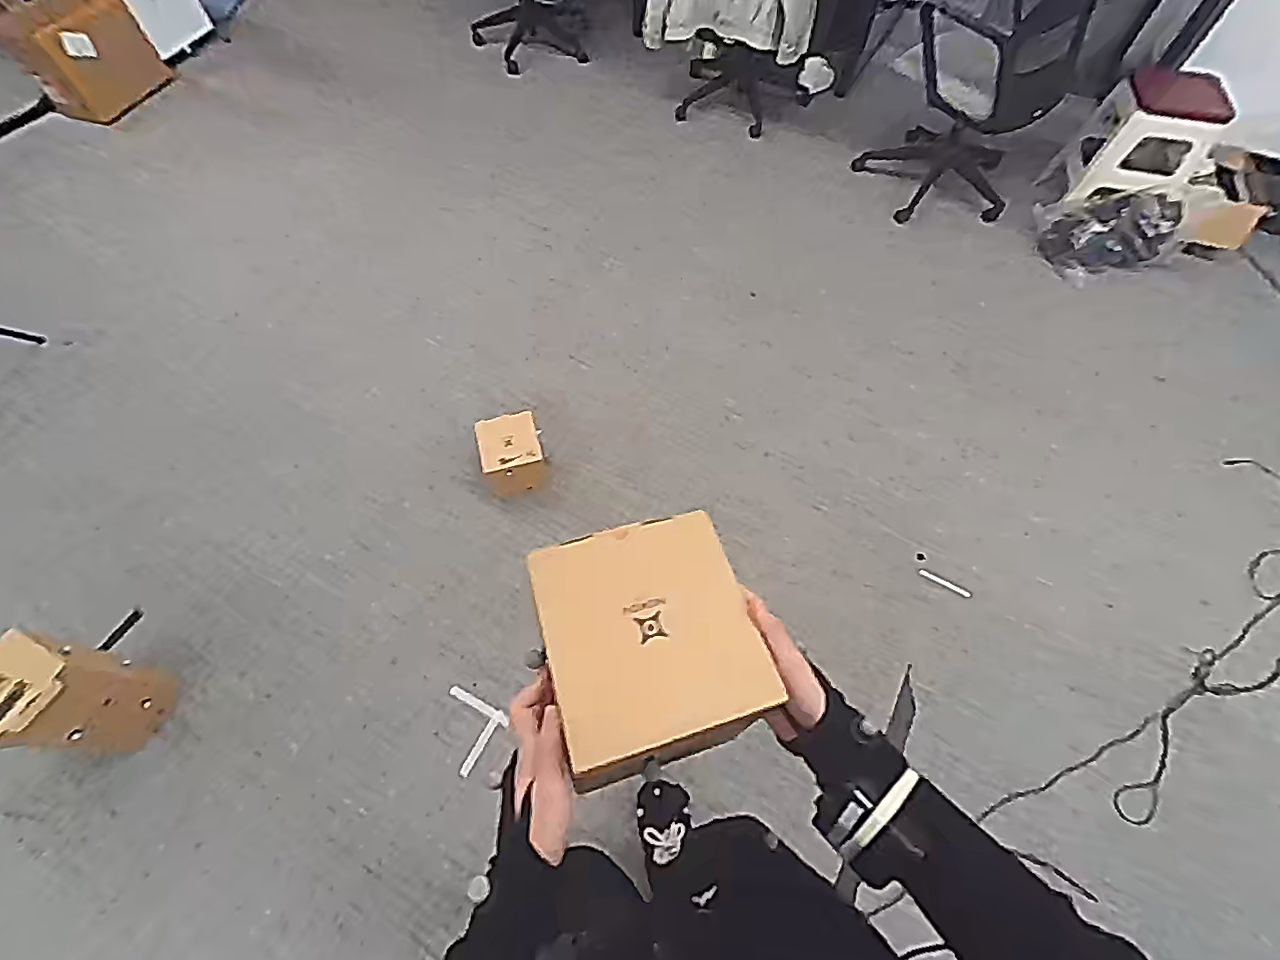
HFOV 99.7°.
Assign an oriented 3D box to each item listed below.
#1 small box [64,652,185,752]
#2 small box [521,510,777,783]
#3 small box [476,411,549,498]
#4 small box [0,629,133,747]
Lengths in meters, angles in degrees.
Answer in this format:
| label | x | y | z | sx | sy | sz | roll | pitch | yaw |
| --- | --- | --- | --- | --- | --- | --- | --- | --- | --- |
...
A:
| label | x | y | z | sx | sy | sz | roll | pitch | yaw |
| --- | --- | --- | --- | --- | --- | --- | --- | --- | --- |
| small box | -1.245 | 0.521 | 1.273 | 0.179 | 0.176 | 0.168 | 22 | 63 | 12 |
| small box | -0.003 | 0.158 | 0.493 | 0.168 | 0.176 | 0.179 | -13 | 57 | -14 |
| small box | -0.374 | -0.072 | 1.597 | 0.168 | 0.176 | 0.179 | -14 | 63 | -9 |
| small box | -1.241 | 0.438 | 1.130 | 0.179 | 0.176 | 0.168 | 23 | 64 | 12 |
